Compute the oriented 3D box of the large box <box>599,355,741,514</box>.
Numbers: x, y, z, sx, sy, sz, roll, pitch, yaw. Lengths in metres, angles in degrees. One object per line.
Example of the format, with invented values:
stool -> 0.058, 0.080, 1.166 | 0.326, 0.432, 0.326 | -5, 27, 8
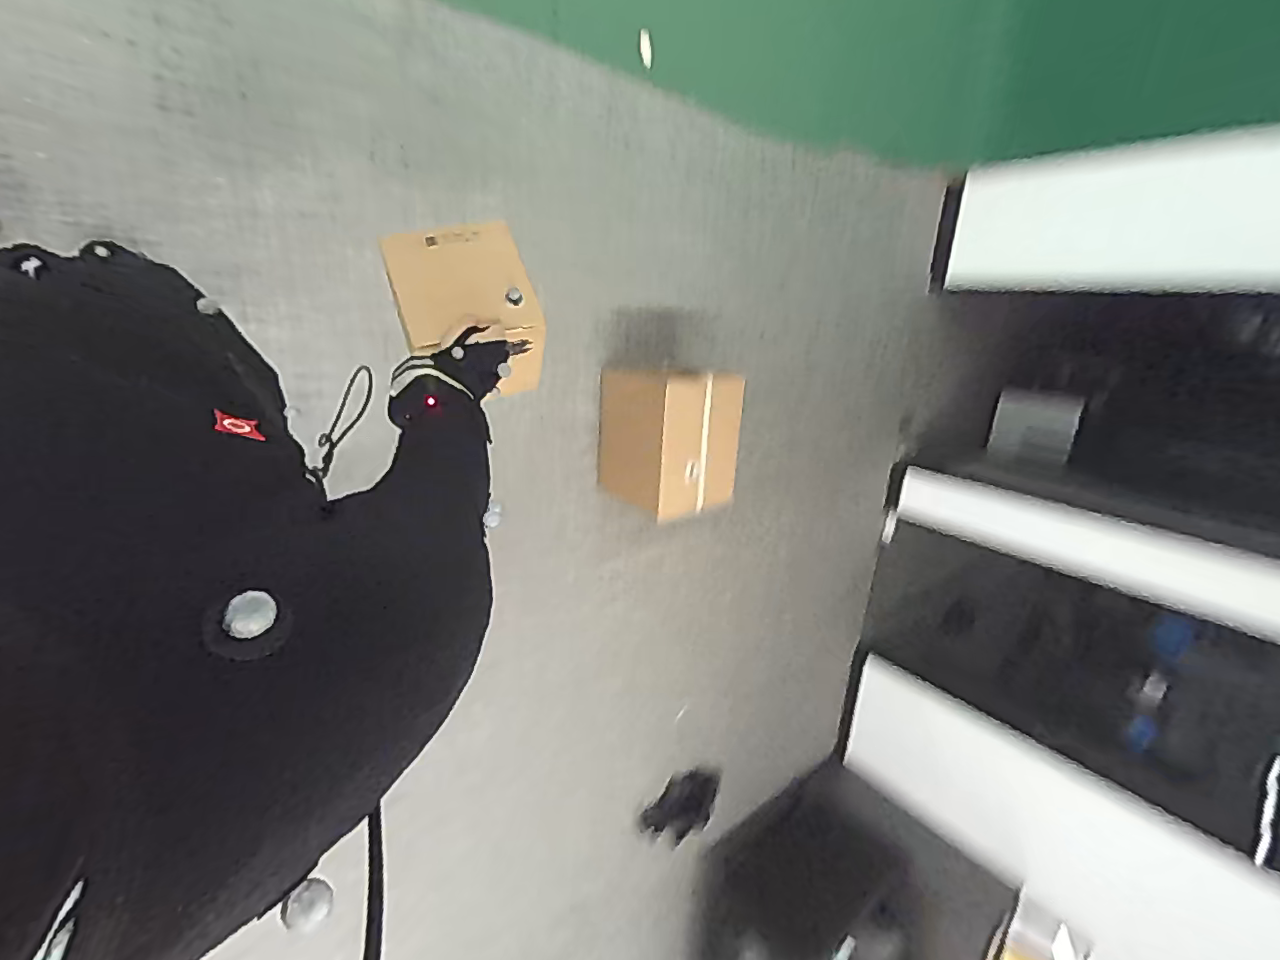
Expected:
large box -> 0.080, -0.159, 1.680 | 0.320, 0.320, 0.408 | -12, 115, -36
